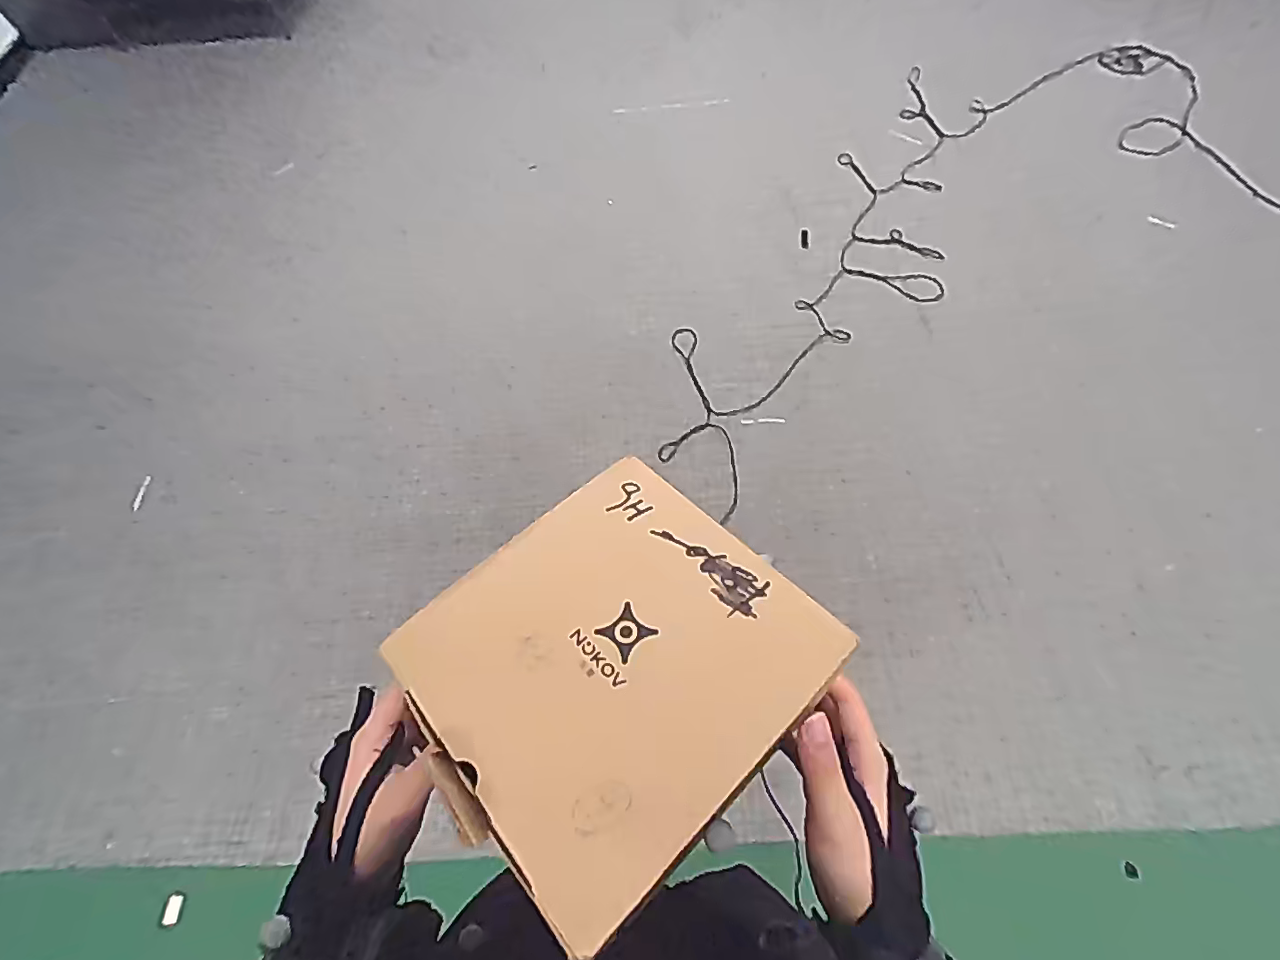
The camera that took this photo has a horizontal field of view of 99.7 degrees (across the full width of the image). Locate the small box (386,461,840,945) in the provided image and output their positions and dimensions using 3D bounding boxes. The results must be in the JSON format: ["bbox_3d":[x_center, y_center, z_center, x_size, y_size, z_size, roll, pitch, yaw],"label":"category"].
[{"bbox_3d":[-0.009,0.129,0.335,0.179,0.176,0.168,-40,60,-21],"label":"small box"}]
